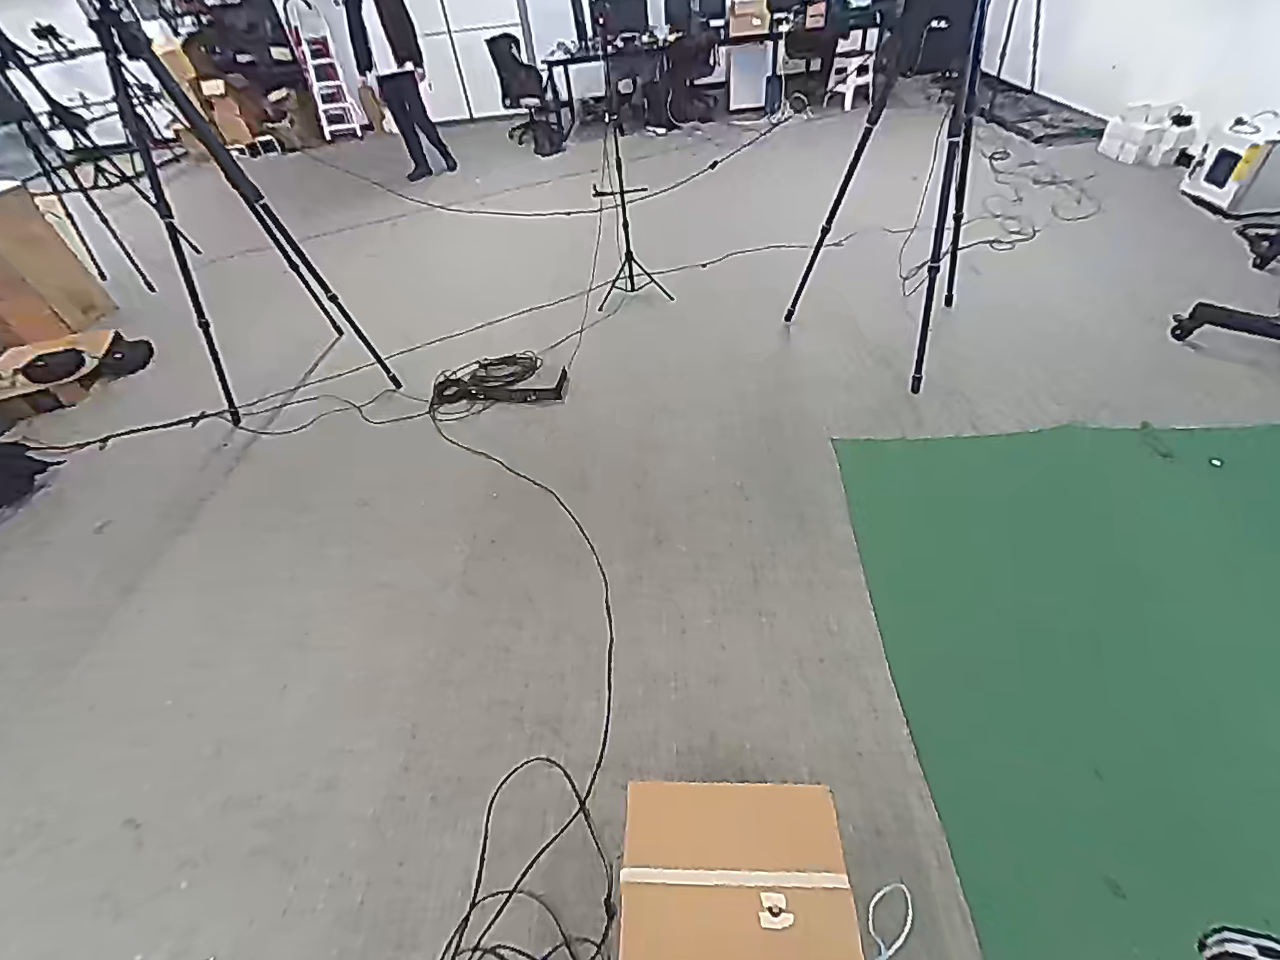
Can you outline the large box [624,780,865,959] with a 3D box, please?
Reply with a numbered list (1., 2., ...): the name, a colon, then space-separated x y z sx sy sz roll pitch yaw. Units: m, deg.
1. large box: 0.183 0.819 1.076 0.408 0.320 0.320 -1 44 5
